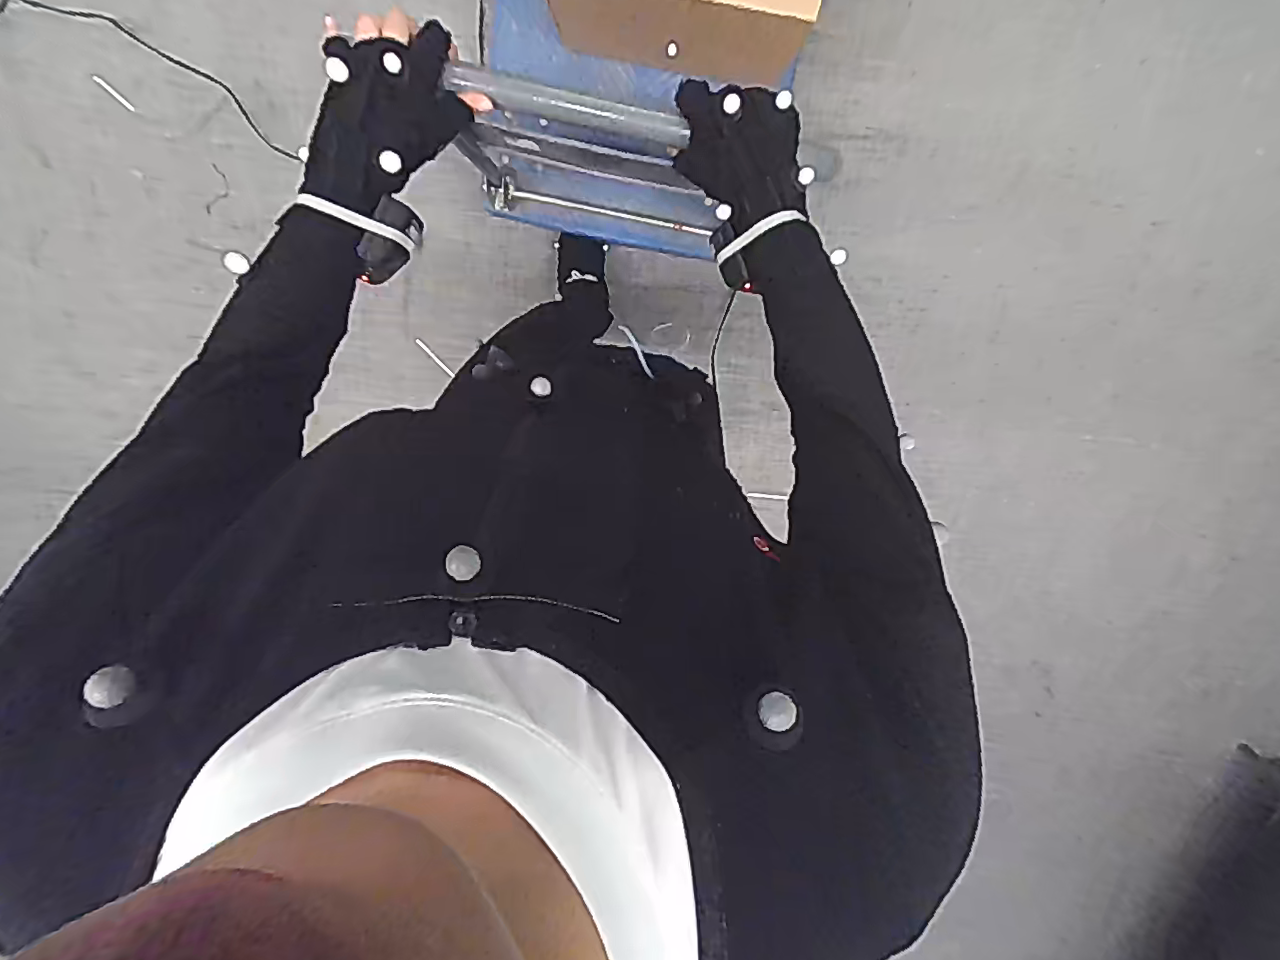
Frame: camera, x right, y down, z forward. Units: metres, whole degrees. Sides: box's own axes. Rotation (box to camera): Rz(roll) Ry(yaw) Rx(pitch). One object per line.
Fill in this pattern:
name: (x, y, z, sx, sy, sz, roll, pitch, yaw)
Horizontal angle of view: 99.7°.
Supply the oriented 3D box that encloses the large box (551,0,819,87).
large box: (0.085, -0.875, 0.854, 0.408, 0.320, 0.320, 10, 110, -1)
